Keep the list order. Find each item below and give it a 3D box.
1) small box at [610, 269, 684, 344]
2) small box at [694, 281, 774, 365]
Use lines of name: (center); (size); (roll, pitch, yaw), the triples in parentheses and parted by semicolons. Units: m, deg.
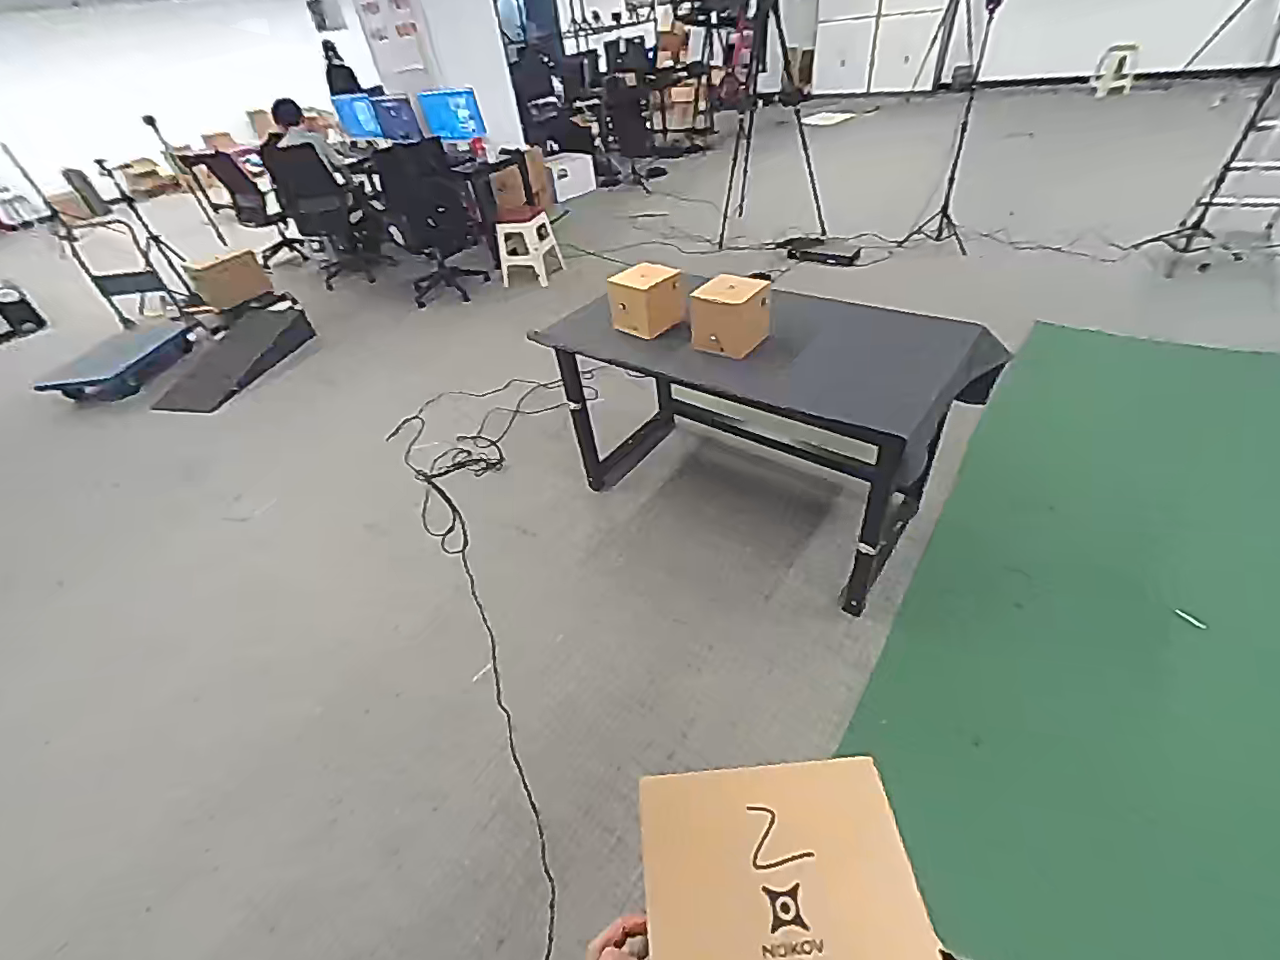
small box: (0.032, -0.557, 1.740); (0.168, 0.176, 0.179); (28, 51, 35)
small box: (0.274, -0.463, 1.586); (0.168, 0.176, 0.179); (23, 49, 32)
